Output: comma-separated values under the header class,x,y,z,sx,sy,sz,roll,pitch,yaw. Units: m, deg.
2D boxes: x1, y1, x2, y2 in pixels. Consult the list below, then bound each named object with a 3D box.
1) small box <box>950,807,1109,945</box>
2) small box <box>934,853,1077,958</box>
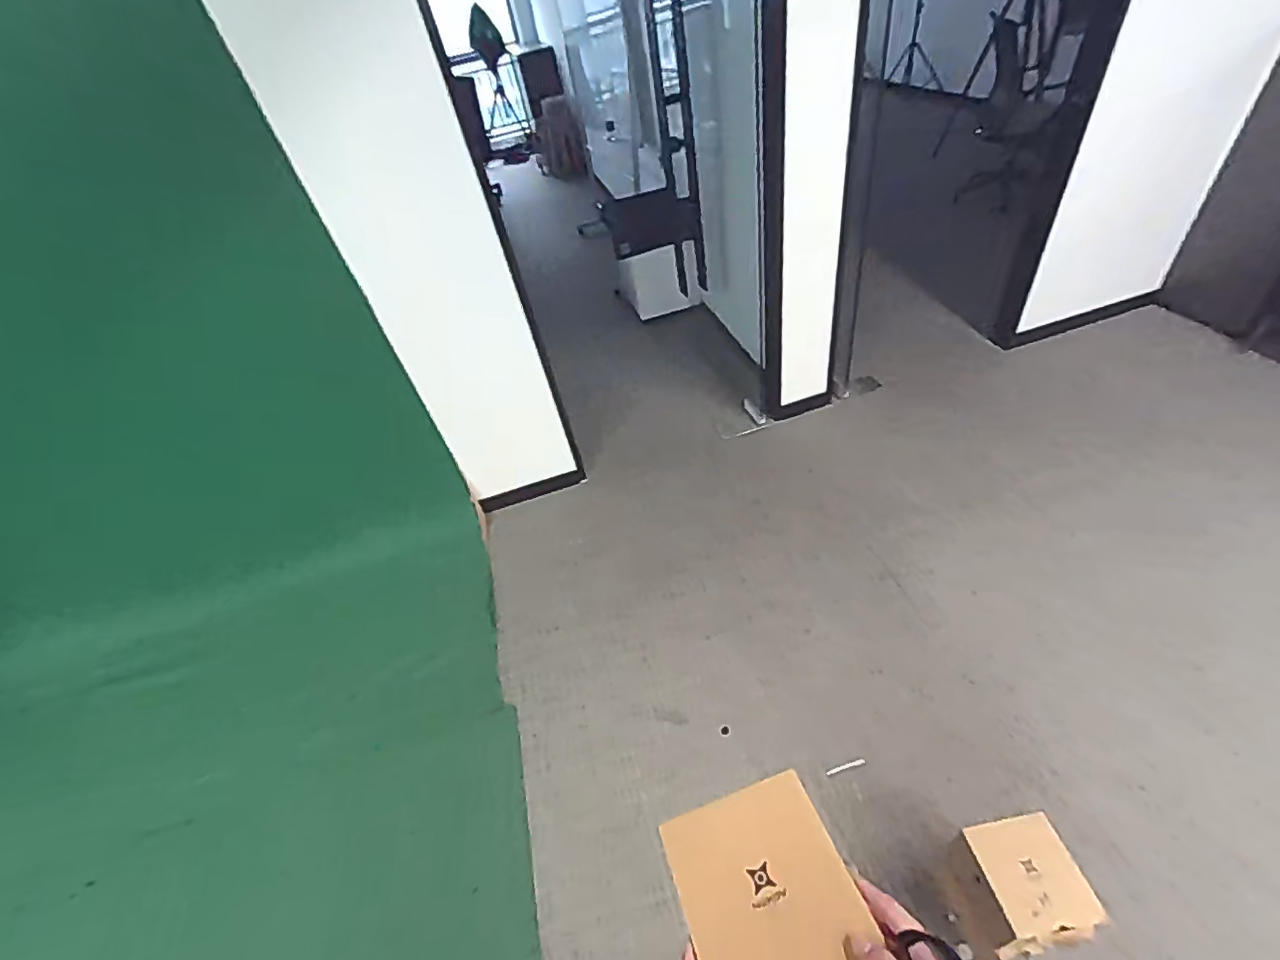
class,x,y,z,sx,sy,sz,roll,pitch,yaw
small box,0.744,0.778,1.061,0.168,0.176,0.179,-13,43,2
small box,0.774,0.901,1.167,0.168,0.176,0.179,-16,44,-2
